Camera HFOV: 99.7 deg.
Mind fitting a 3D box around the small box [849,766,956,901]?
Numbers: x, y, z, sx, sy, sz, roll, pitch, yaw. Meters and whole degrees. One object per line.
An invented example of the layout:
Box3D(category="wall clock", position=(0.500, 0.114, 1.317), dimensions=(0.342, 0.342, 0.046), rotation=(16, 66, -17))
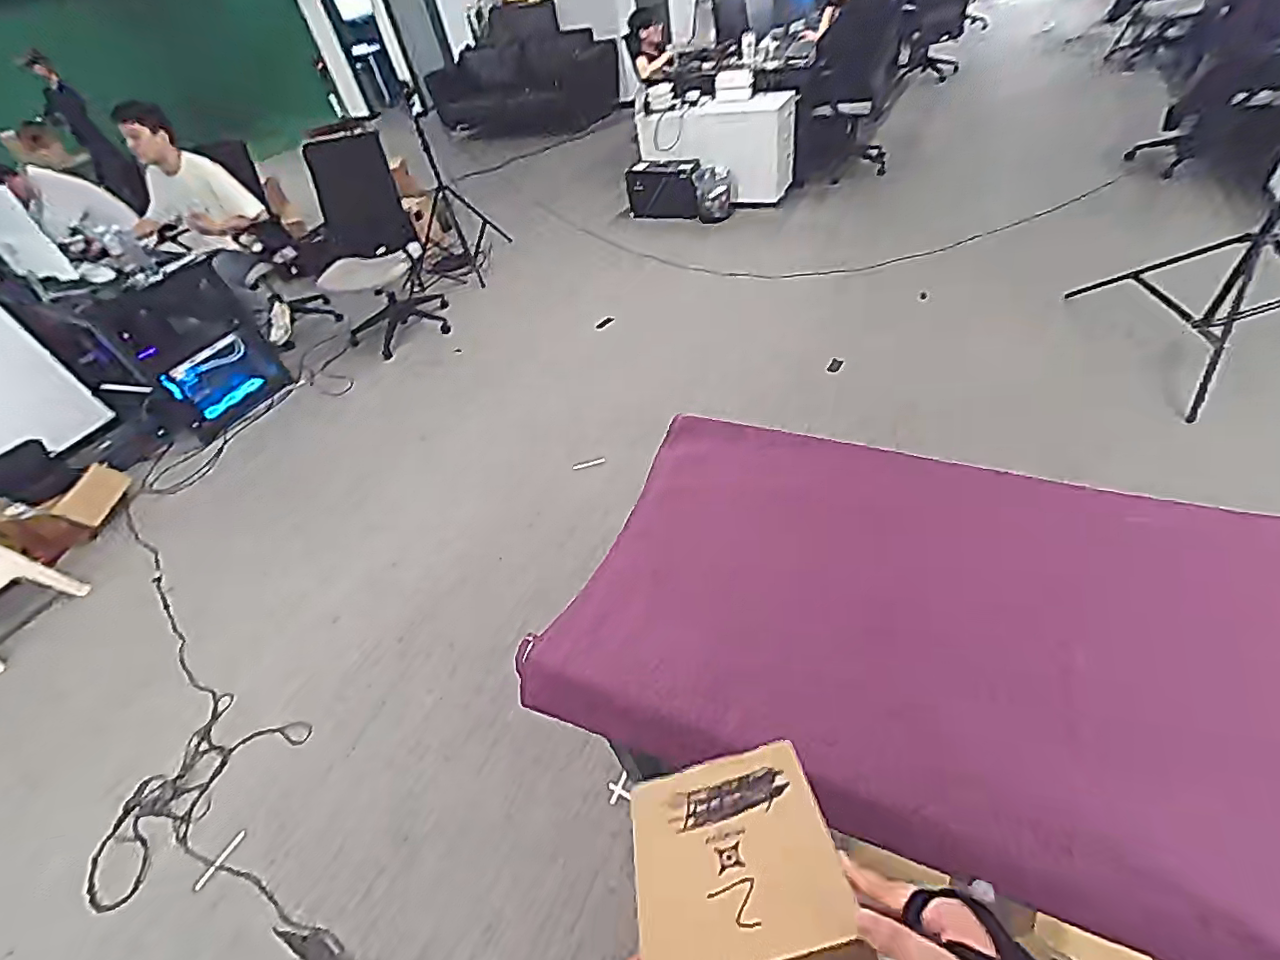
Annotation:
Box3D(category="small box", position=(0.556, 0.760, 1.159), dimensions=(0.168, 0.176, 0.179), rotation=(16, 51, 25))

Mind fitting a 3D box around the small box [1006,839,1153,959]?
Box3D(category="small box", position=(0.825, 0.837, 1.028), dimensions=(0.168, 0.176, 0.179), rotation=(21, 53, 30))
